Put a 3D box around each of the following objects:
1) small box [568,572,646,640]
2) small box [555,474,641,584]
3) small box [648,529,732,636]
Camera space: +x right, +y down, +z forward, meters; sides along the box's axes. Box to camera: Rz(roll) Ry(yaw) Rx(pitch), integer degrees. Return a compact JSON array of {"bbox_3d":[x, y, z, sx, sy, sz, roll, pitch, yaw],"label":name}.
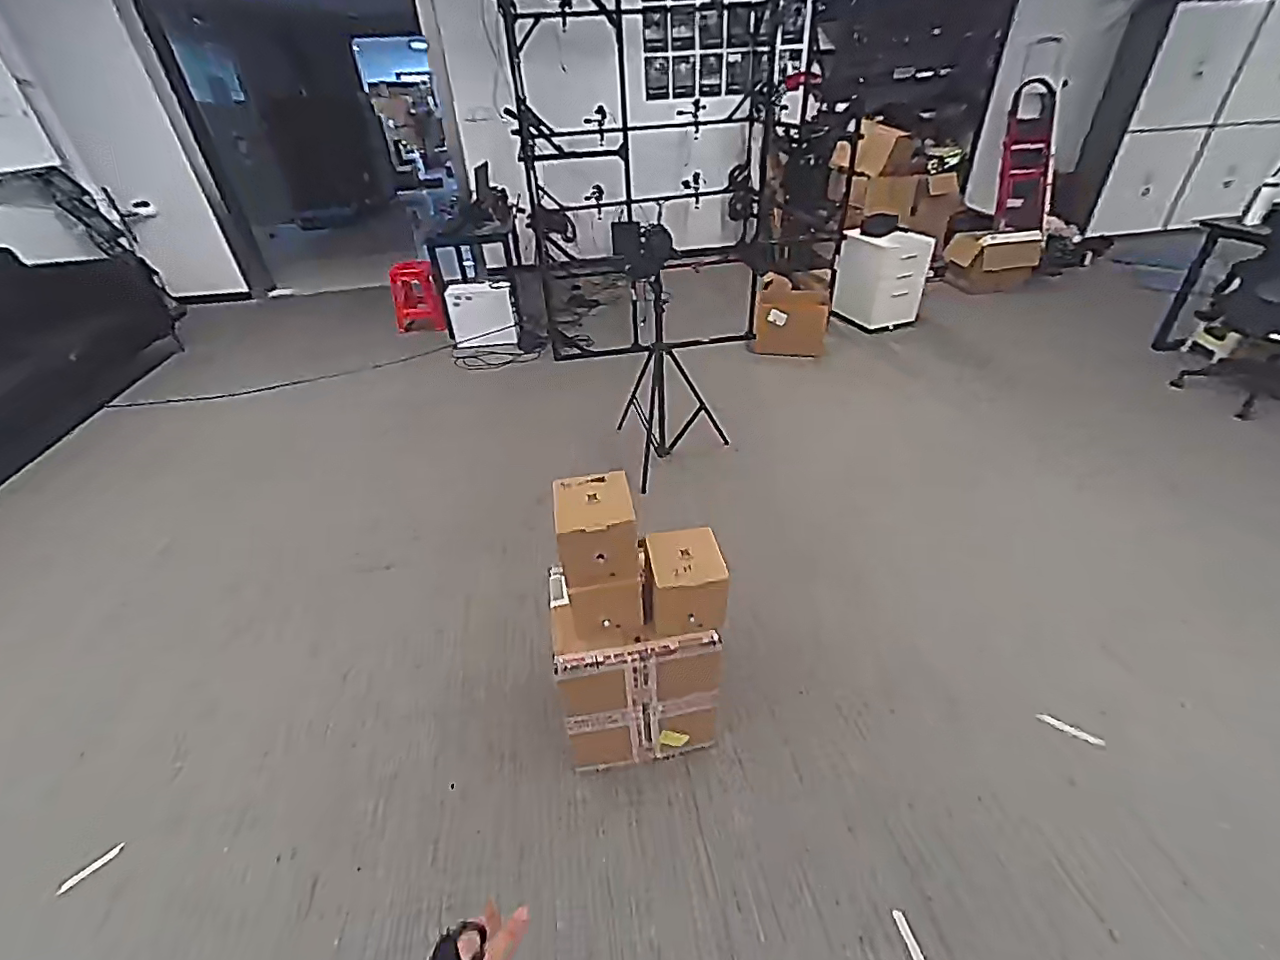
[{"bbox_3d":[-0.084,0.249,1.288,0.168,0.176,0.179,-10,40,-7],"label":"small box"},{"bbox_3d":[-0.093,0.113,1.198,0.168,0.176,0.179,-8,39,-5],"label":"small box"},{"bbox_3d":[0.110,0.242,1.284,0.168,0.176,0.179,-7,38,-6],"label":"small box"}]
